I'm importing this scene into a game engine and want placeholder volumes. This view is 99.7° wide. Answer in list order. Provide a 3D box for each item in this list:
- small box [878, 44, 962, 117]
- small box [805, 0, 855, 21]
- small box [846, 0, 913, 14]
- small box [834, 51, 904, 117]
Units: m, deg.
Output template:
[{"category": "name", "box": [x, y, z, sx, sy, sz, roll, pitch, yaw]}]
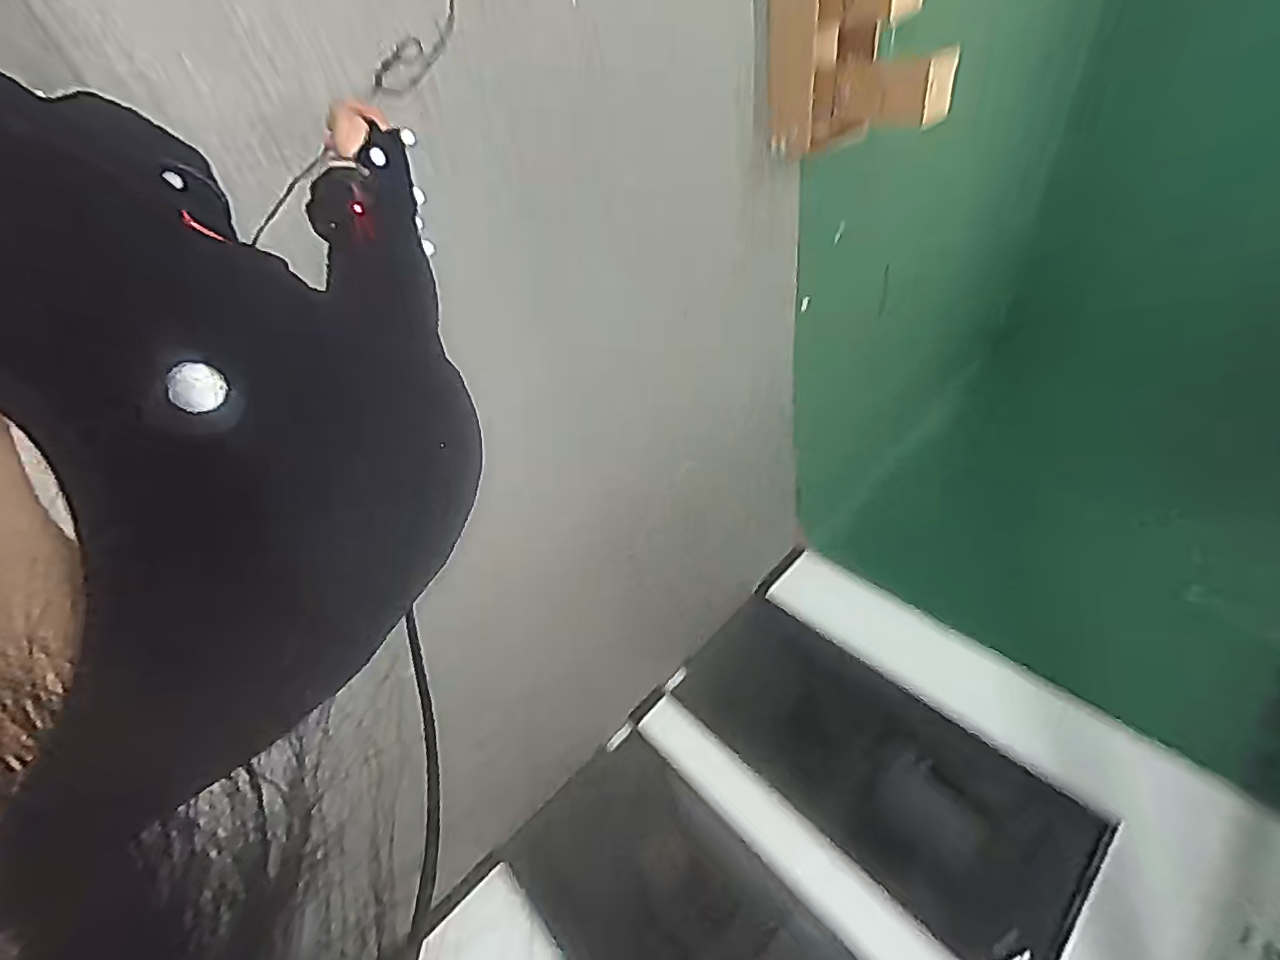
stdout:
[{"category": "small box", "box": [0.906, -1.297, 1.759, 0.179, 0.176, 0.168, -36, 135, -25]}, {"category": "small box", "box": [0.674, -1.658, 1.800, 0.179, 0.176, 0.168, -38, 138, -22]}, {"category": "small box", "box": [0.772, -1.587, 1.687, 0.179, 0.176, 0.168, -38, 138, -19]}, {"category": "small box", "box": [0.799, -1.365, 1.864, 0.179, 0.176, 0.168, -32, 133, -26]}]
